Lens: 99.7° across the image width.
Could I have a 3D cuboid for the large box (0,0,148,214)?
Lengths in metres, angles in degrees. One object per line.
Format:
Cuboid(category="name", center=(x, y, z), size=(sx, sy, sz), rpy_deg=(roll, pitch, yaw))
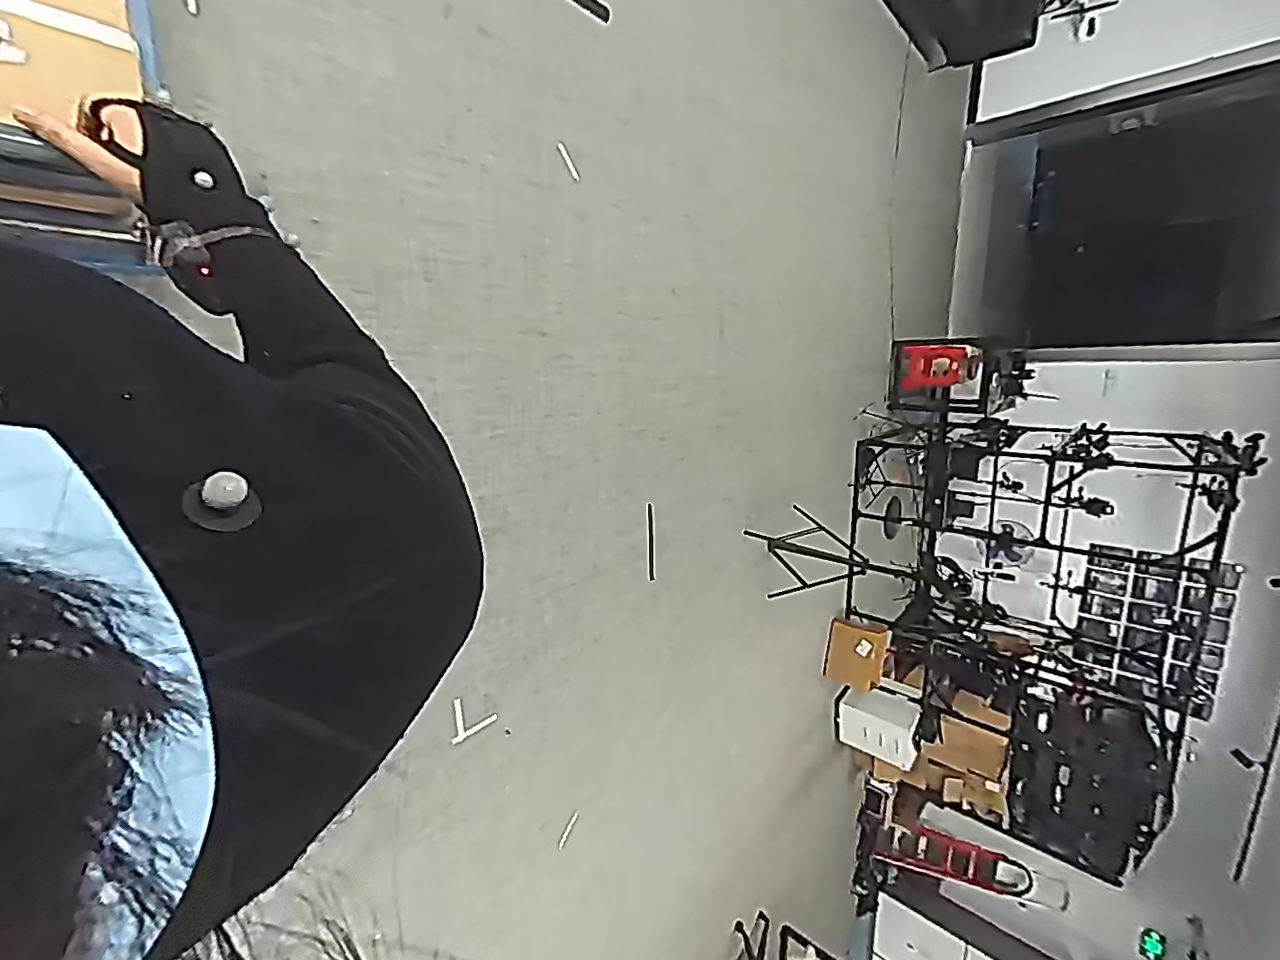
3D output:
Cuboid(category="large box", center=(-0.928, -0.559, 0.668), size=(0.408, 0.320, 0.320), rpy_deg=(-13, 107, -49))
